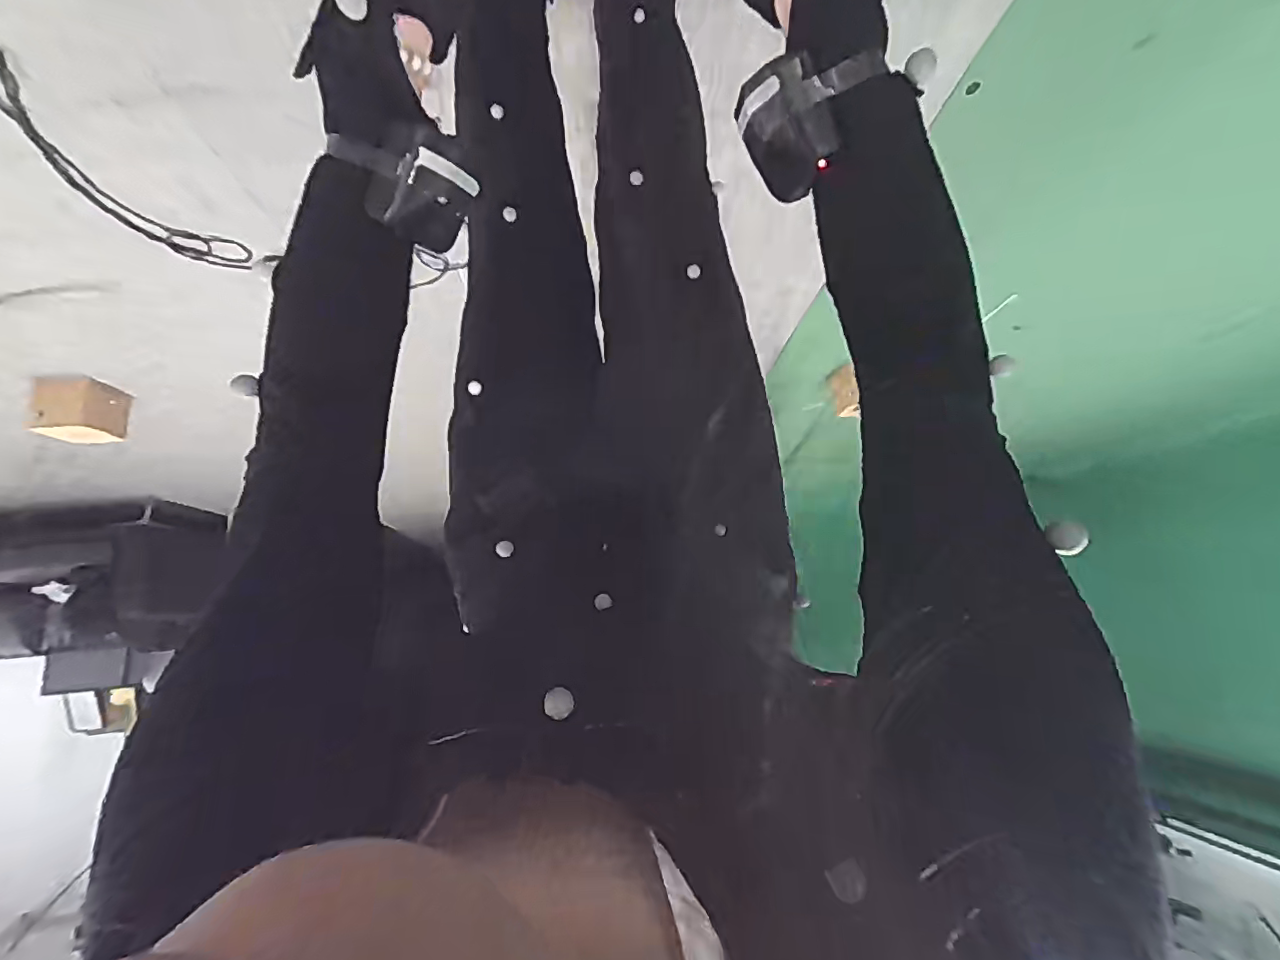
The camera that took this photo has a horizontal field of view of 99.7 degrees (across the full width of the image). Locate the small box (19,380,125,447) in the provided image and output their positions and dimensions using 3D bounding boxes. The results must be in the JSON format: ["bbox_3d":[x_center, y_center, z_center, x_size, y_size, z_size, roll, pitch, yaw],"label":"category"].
[{"bbox_3d":[-1.858,-0.218,1.780,0.179,0.176,0.168,-4,167,-3],"label":"small box"}]
